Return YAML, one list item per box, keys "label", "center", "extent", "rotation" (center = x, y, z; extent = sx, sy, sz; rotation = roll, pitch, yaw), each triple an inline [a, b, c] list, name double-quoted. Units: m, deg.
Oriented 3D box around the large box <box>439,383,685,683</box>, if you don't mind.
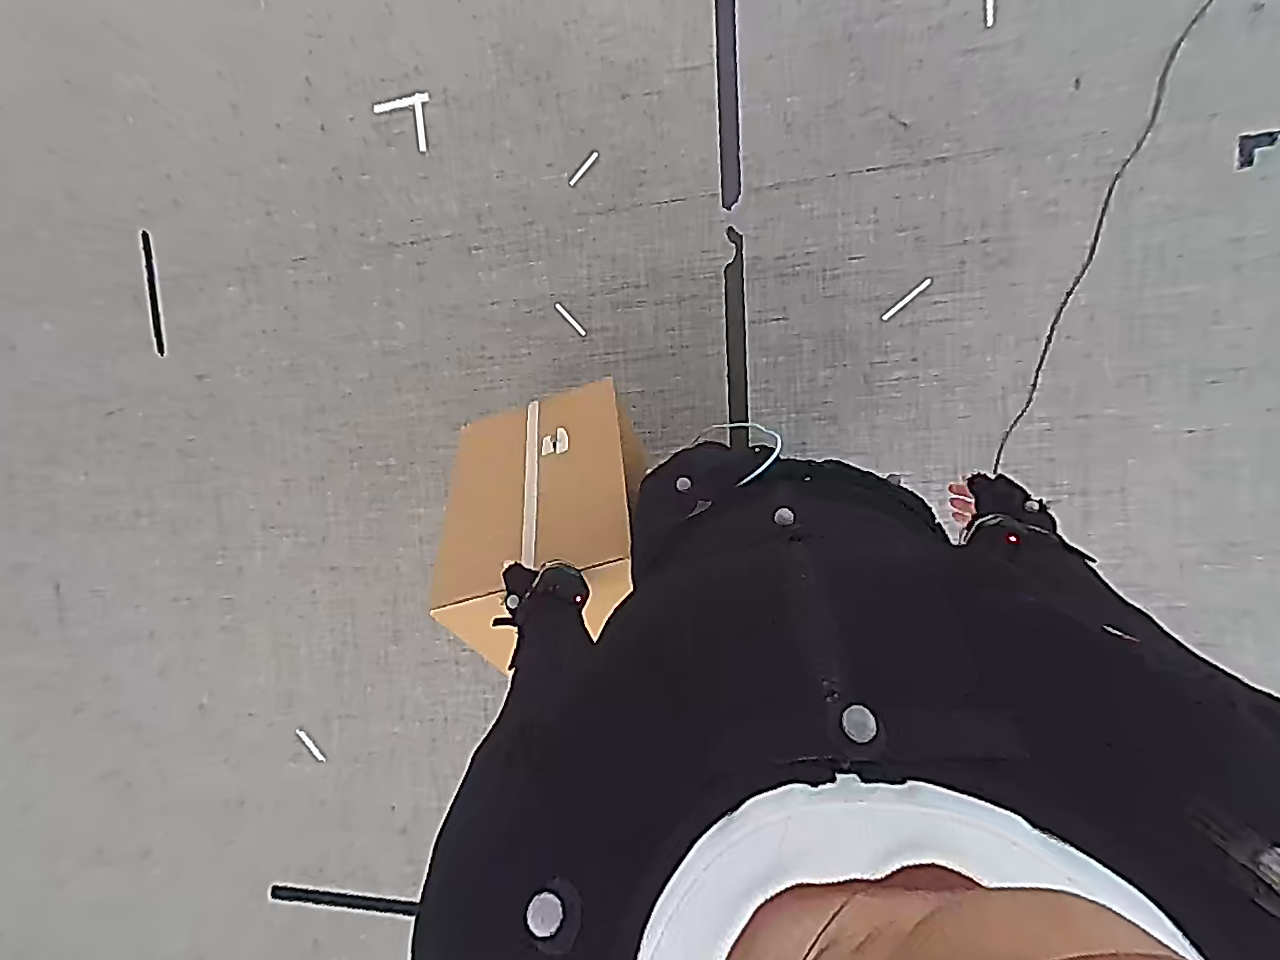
- label: "large box"
  center: [-0.127, 0.096, 0.998]
  extent: [0.320, 0.320, 0.408]
  rotation: [-15, 46, 7]
